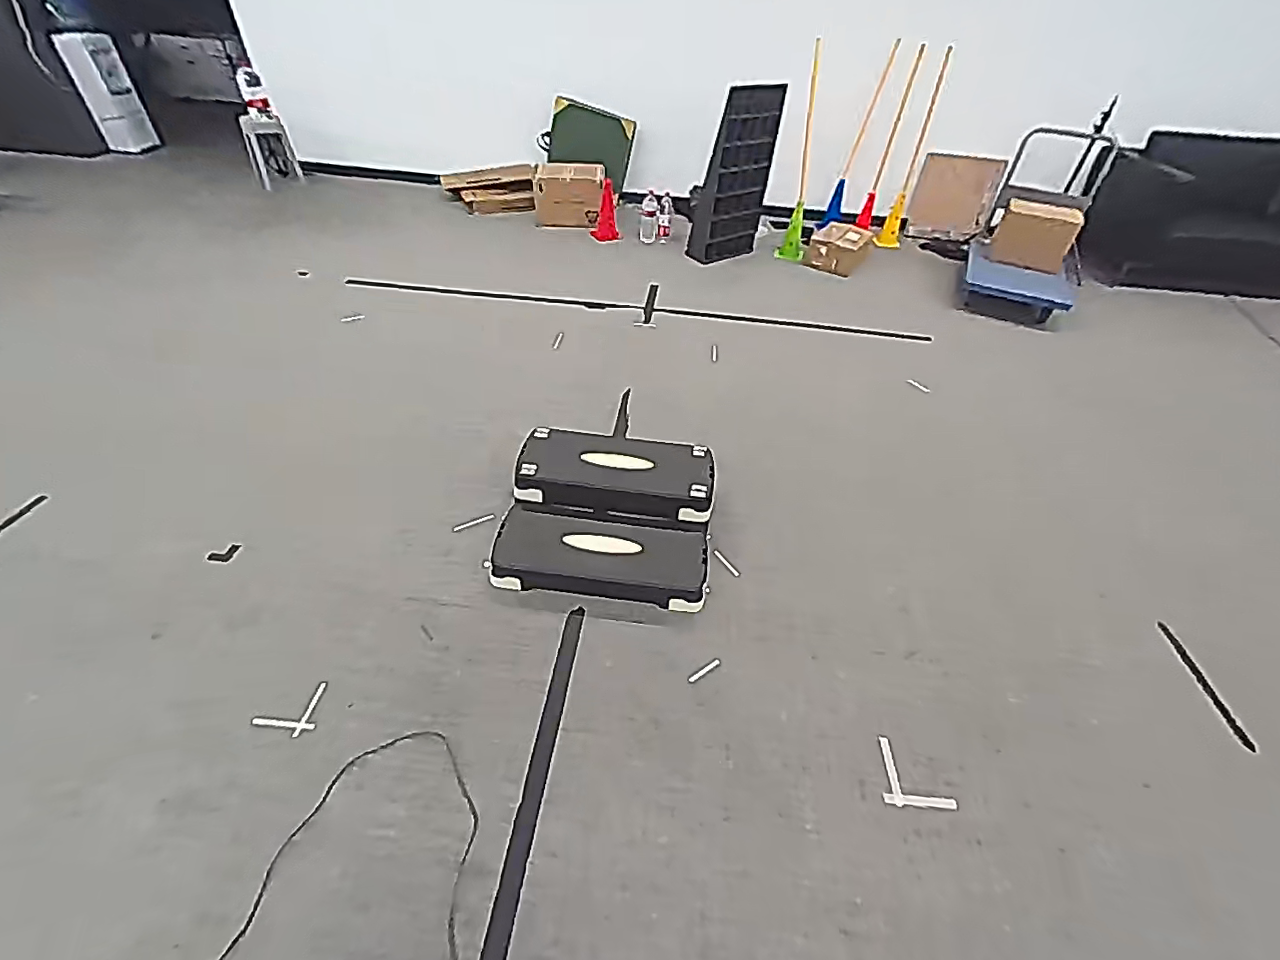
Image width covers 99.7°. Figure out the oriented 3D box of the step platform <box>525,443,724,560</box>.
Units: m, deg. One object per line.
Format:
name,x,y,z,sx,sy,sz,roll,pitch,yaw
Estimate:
step platform,-0.049,0.065,1.901,0.684,0.204,0.286,10,42,5
